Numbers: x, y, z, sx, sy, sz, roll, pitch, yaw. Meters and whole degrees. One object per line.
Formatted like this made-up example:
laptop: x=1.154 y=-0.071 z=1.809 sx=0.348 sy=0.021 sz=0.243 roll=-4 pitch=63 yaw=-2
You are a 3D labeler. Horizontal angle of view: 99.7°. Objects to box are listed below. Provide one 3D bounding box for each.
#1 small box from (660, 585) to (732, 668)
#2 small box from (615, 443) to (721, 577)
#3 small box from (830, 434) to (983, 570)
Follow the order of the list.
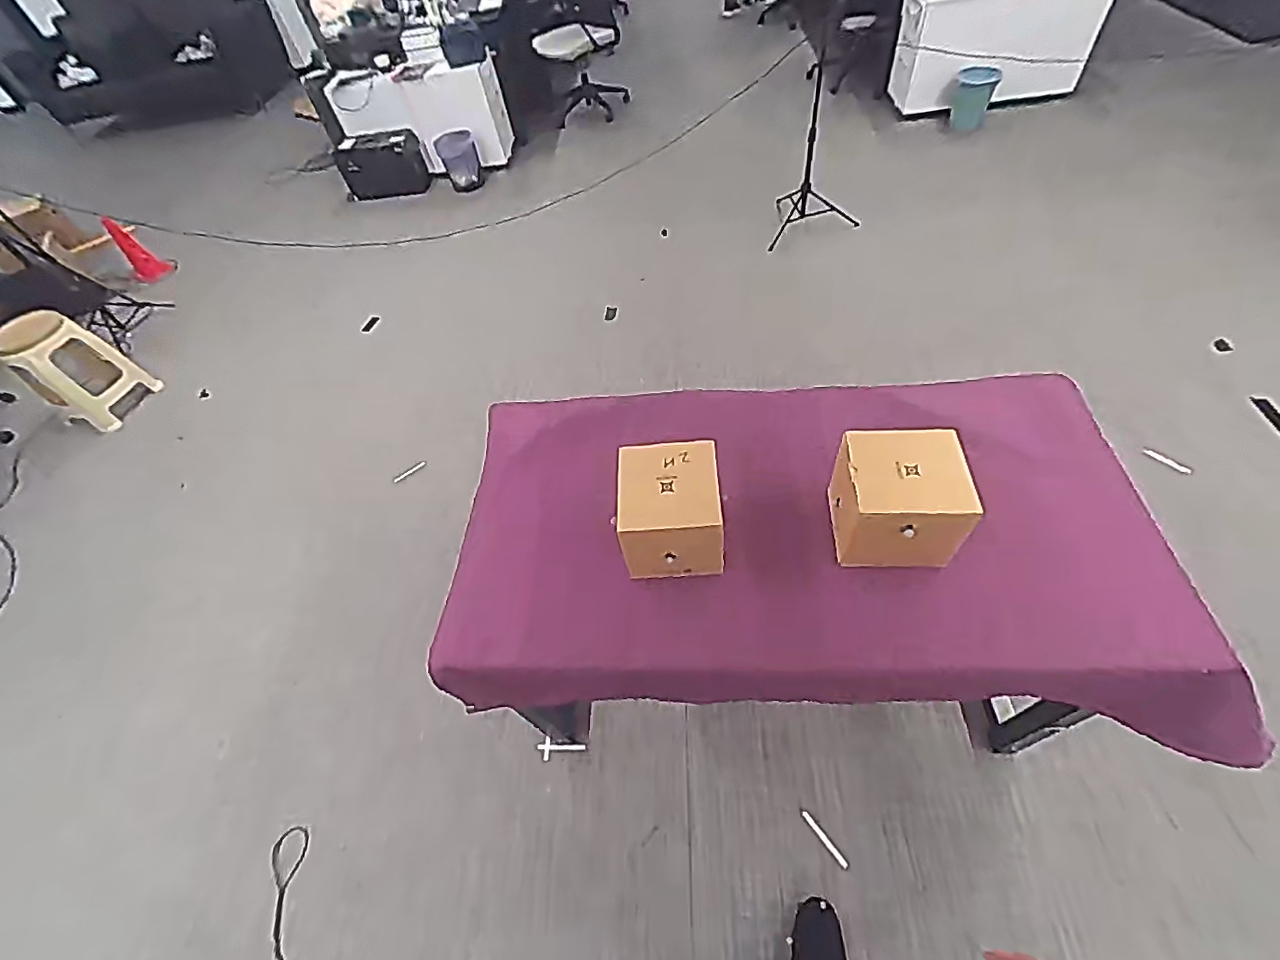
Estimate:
small box: x=0.149 y=0.396 z=1.447 sx=0.179 sy=0.176 sz=0.168 roll=-4 pitch=53 yaw=4
small box: x=0.054 y=0.060 z=0.939 sx=0.168 sy=0.176 sz=0.179 roll=-4 pitch=53 yaw=6
small box: x=0.426 y=0.040 z=0.899 sx=0.179 sy=0.176 sz=0.168 roll=-1 pitch=53 yaw=9
